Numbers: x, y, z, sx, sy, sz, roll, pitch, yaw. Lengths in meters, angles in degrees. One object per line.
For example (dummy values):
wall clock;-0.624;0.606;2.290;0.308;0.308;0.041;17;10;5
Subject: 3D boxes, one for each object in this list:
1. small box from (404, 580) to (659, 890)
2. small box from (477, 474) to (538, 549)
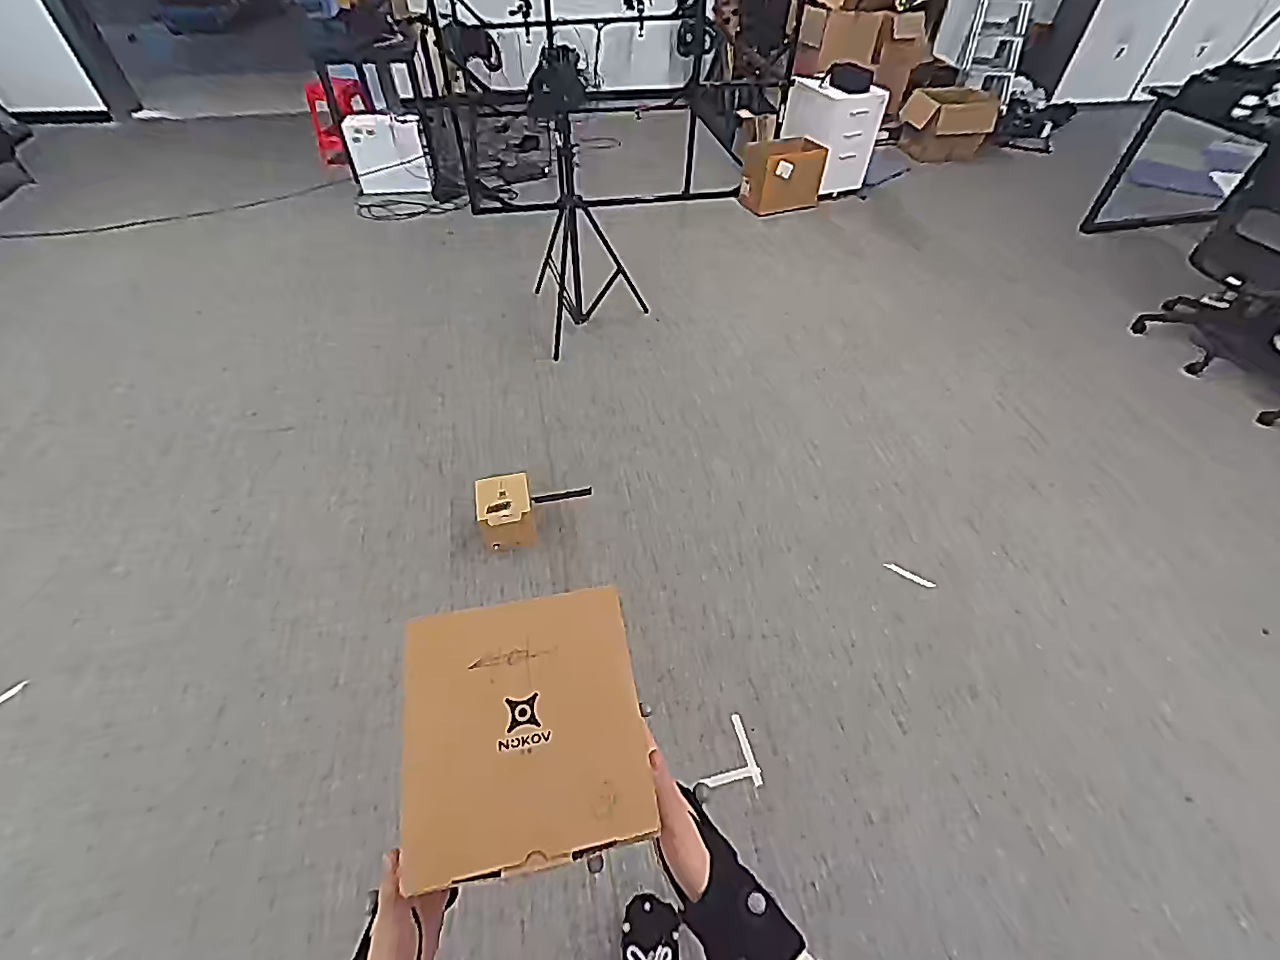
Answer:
small box;-0.087;0.207;0.451;0.168;0.176;0.179;-9;58;-11
small box;-0.434;0.111;1.780;0.168;0.176;0.179;-10;49;-10
